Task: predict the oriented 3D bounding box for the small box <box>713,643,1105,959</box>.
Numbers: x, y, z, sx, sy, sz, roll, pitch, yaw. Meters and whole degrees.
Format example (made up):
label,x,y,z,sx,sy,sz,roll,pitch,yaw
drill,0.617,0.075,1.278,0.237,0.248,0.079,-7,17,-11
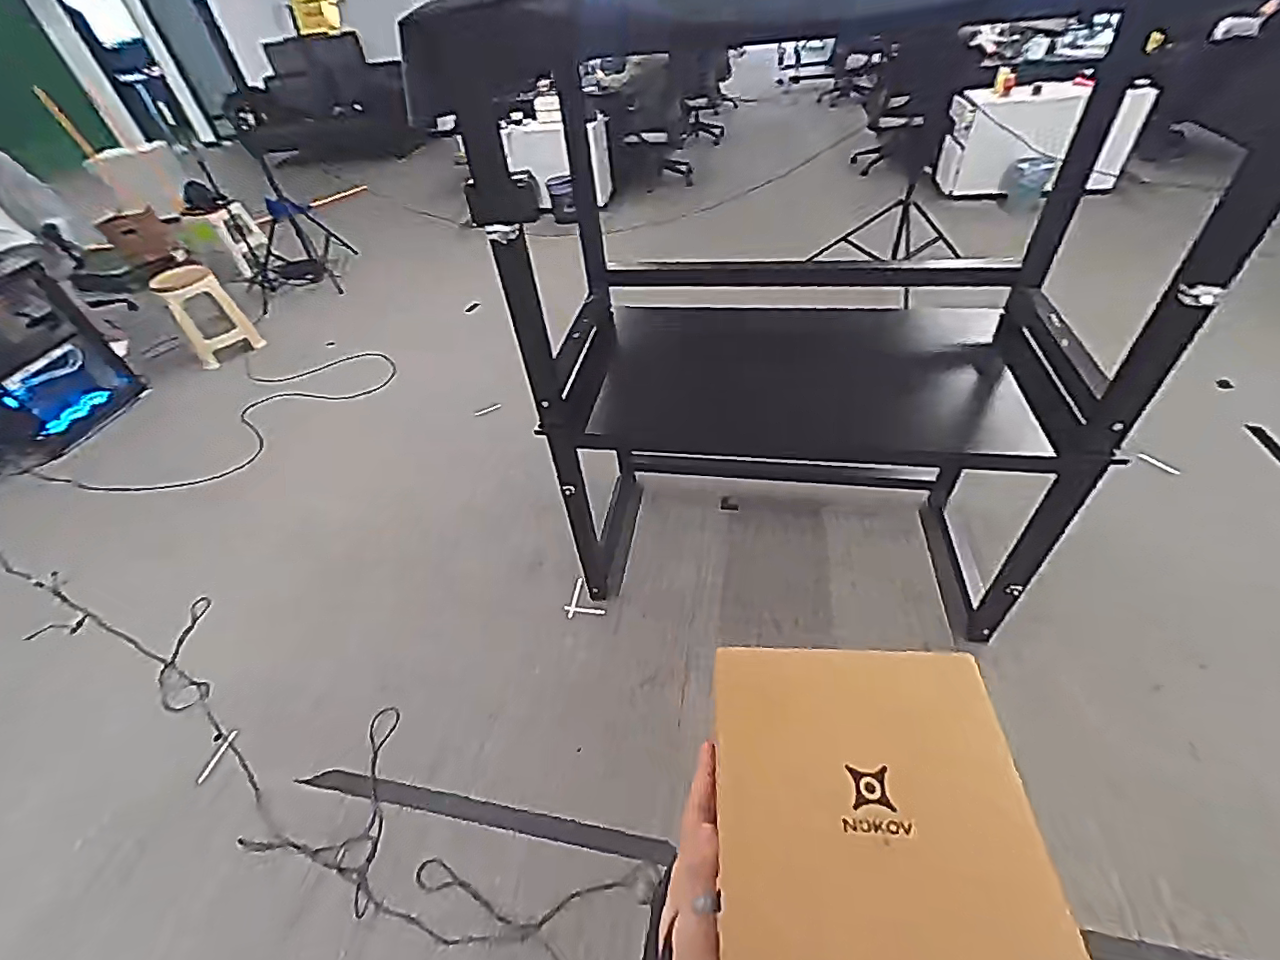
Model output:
label,x,y,z,sx,sy,sz,roll,pitch,yaw
small box,0.134,0.227,0.348,0.168,0.176,0.179,-1,45,5
